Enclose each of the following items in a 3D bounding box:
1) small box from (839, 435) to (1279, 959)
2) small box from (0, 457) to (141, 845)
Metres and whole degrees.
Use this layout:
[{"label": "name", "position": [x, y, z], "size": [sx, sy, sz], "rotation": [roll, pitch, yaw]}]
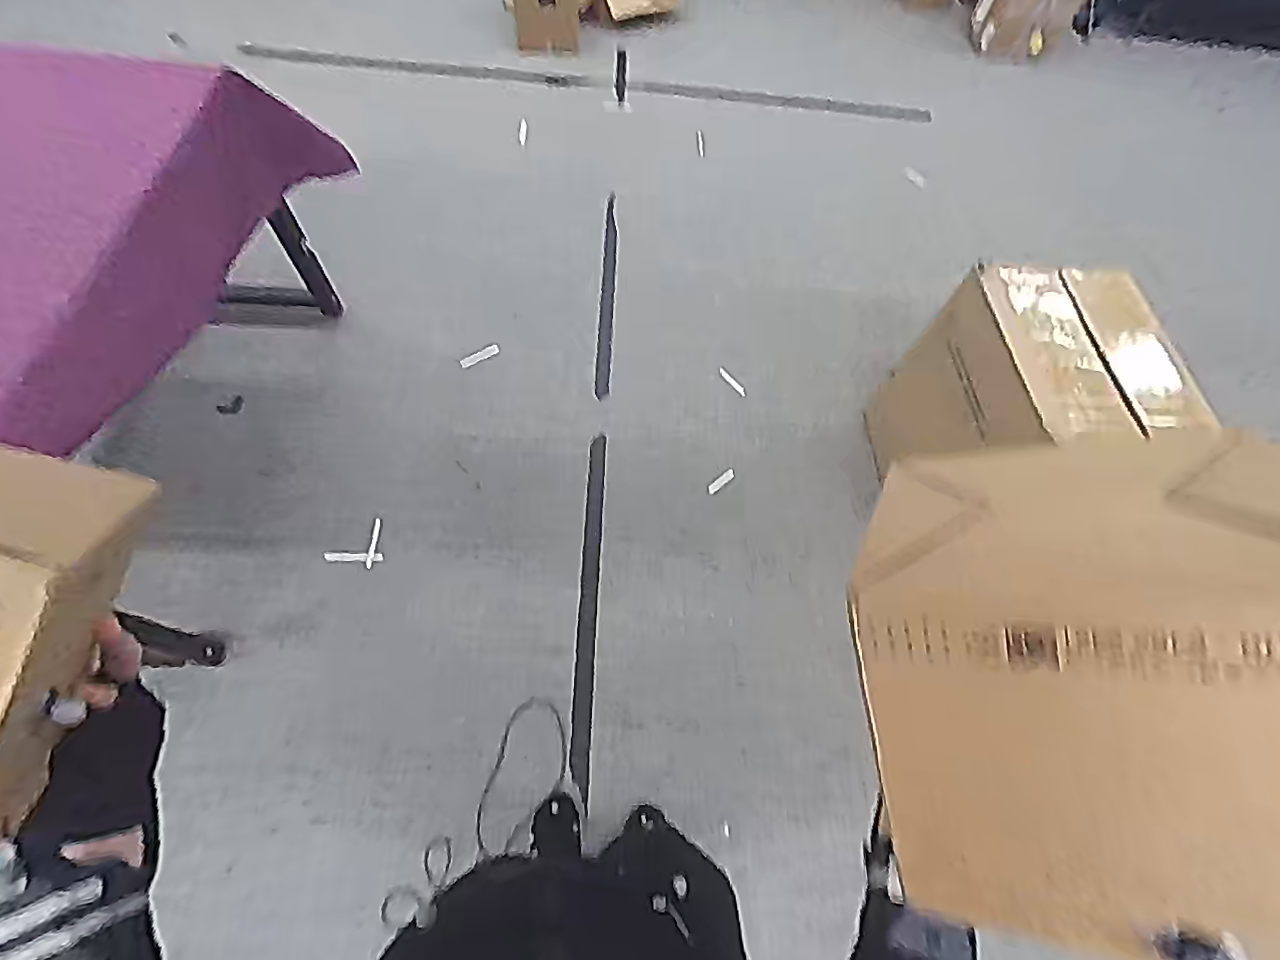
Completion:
[{"label": "small box", "position": [0.207, 0.086, 0.260], "size": [0.179, 0.168, 0.176], "rotation": [-34, 112, -54]}, {"label": "small box", "position": [-0.364, 0.072, 0.237], "size": [0.179, 0.168, 0.176], "rotation": [21, 88, -33]}]
